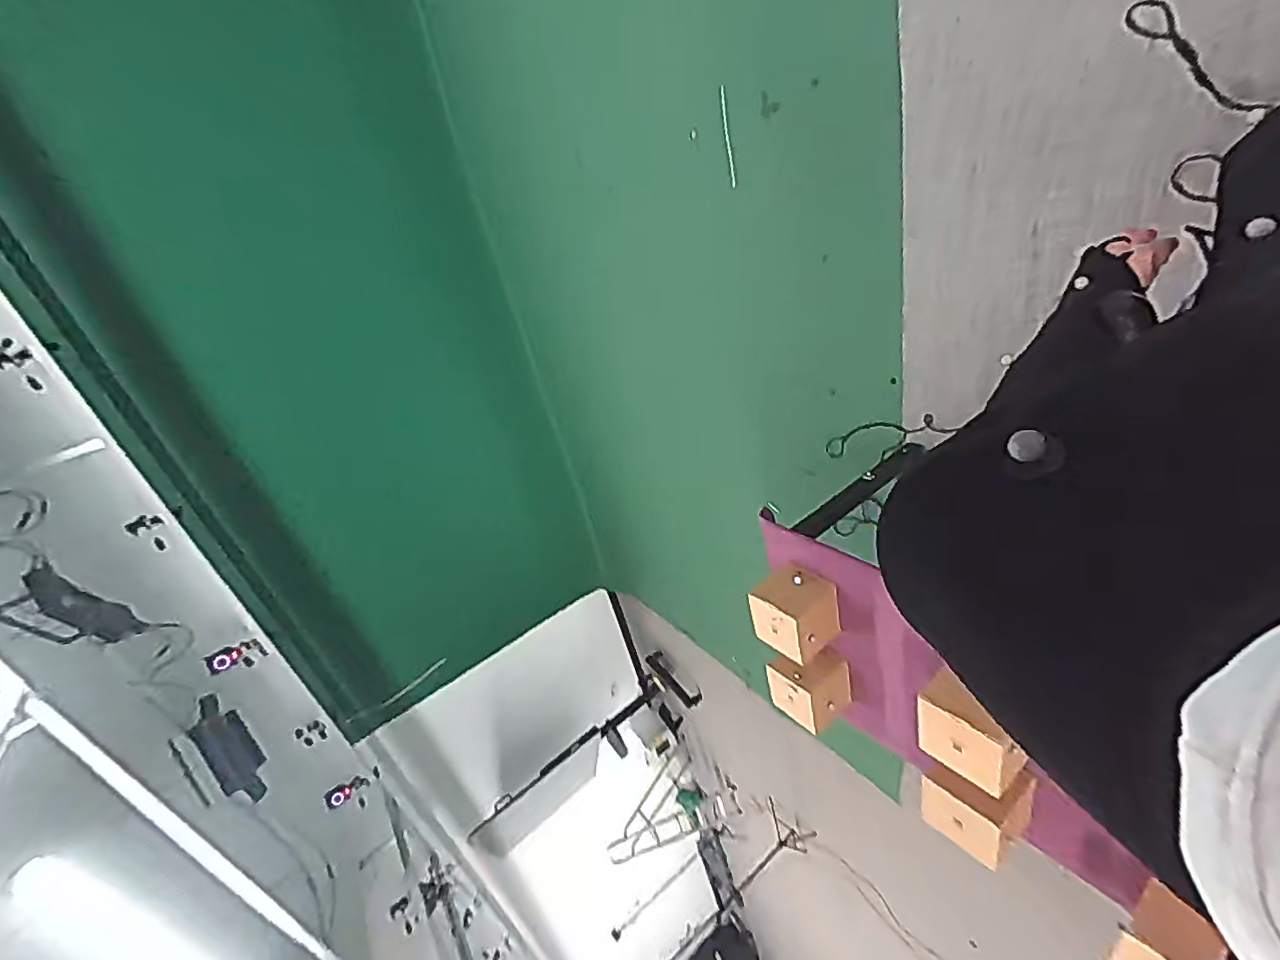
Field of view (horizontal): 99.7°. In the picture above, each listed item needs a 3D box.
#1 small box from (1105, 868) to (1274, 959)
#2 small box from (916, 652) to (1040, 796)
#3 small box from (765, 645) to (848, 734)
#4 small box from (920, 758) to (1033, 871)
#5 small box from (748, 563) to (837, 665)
[{"bbox_3d":[0.987,0.862,0.978,0.168,0.176,0.179,28,138,50],"label":"small box"},{"bbox_3d":[0.706,0.502,1.134,0.168,0.176,0.179,24,137,52],"label":"small box"},{"bbox_3d":[0.501,0.603,1.611,0.168,0.176,0.179,22,135,51],"label":"small box"},{"bbox_3d":[0.774,0.734,1.249,0.168,0.176,0.179,24,136,51],"label":"small box"},{"bbox_3d":[0.425,0.363,1.494,0.168,0.176,0.179,24,137,49],"label":"small box"}]
